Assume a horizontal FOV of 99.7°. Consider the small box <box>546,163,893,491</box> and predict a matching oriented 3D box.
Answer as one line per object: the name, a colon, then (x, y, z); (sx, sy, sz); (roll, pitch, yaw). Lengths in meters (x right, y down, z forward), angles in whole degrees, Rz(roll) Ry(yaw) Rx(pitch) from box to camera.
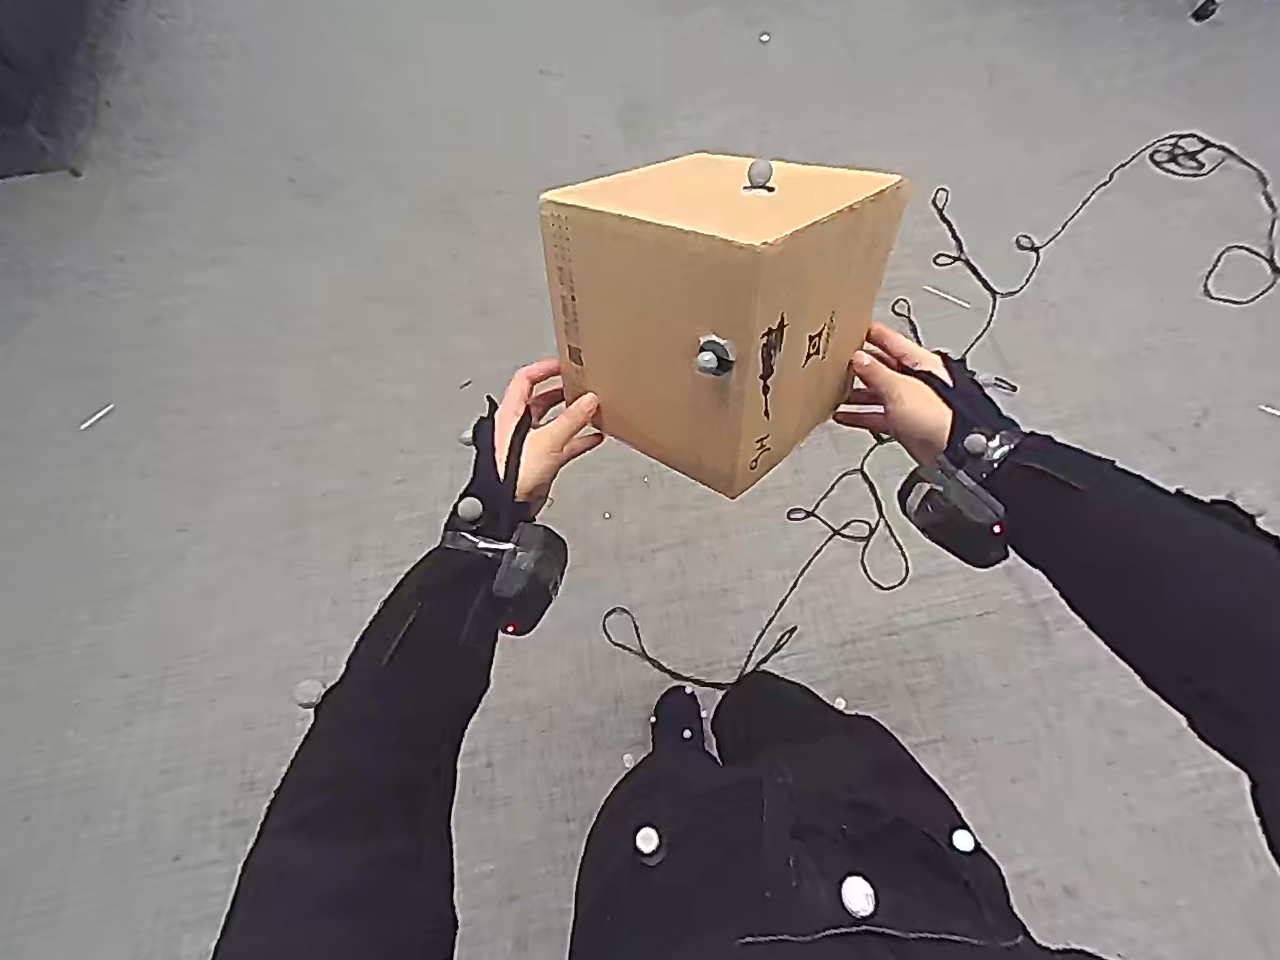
small box: (0.055, -0.128, 0.408); (0.176, 0.168, 0.179); (28, 49, 31)
